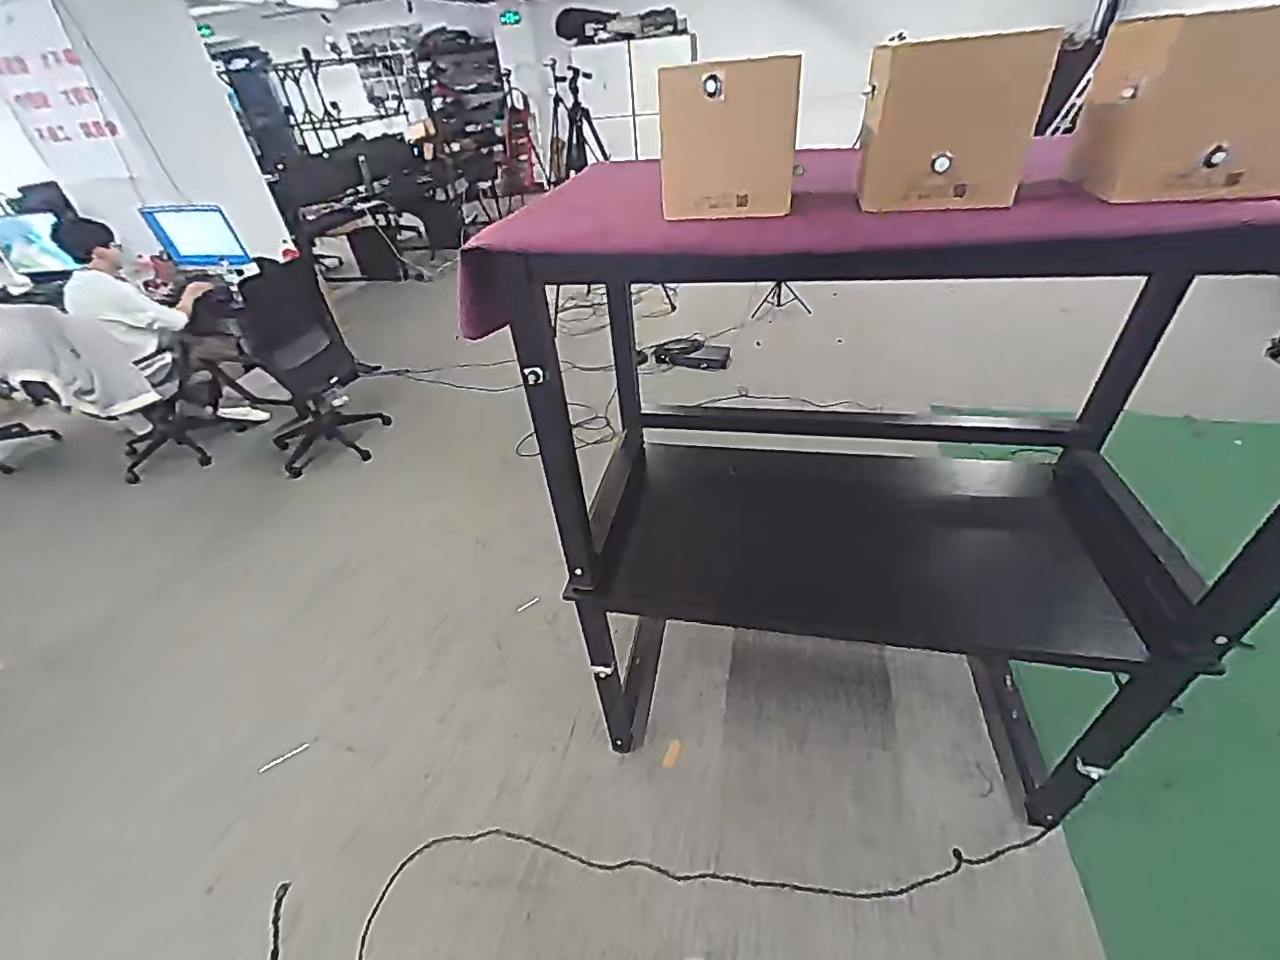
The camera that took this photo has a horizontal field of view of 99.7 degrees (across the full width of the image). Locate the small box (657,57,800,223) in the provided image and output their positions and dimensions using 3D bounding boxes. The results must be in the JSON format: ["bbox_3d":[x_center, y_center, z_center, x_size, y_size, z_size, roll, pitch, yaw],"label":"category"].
[{"bbox_3d":[0.121,-0.453,0.727,0.168,0.176,0.179,3,36,12],"label":"small box"}]

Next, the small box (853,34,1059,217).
[{"bbox_3d":[0.368,-0.436,0.674,0.168,0.176,0.179,4,38,13],"label":"small box"}]
